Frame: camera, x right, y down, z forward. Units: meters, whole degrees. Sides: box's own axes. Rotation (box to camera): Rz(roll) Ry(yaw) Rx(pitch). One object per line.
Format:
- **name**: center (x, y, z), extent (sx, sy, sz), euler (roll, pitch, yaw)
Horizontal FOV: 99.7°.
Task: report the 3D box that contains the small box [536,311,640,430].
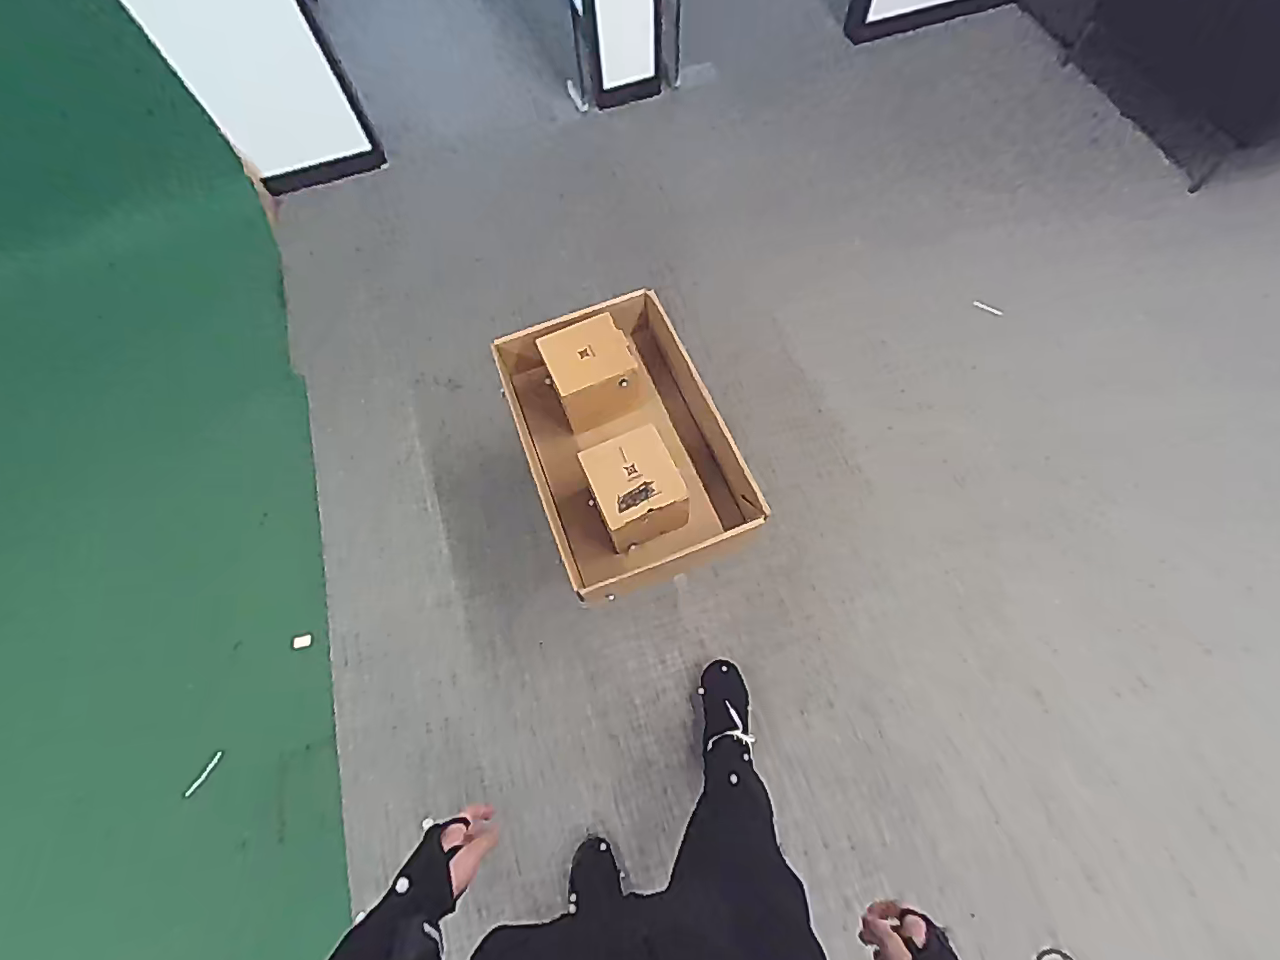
- **small box**: center (-0.111, -0.238, 1.216), extent (0.179, 0.176, 0.168), euler (-24, 67, -8)
